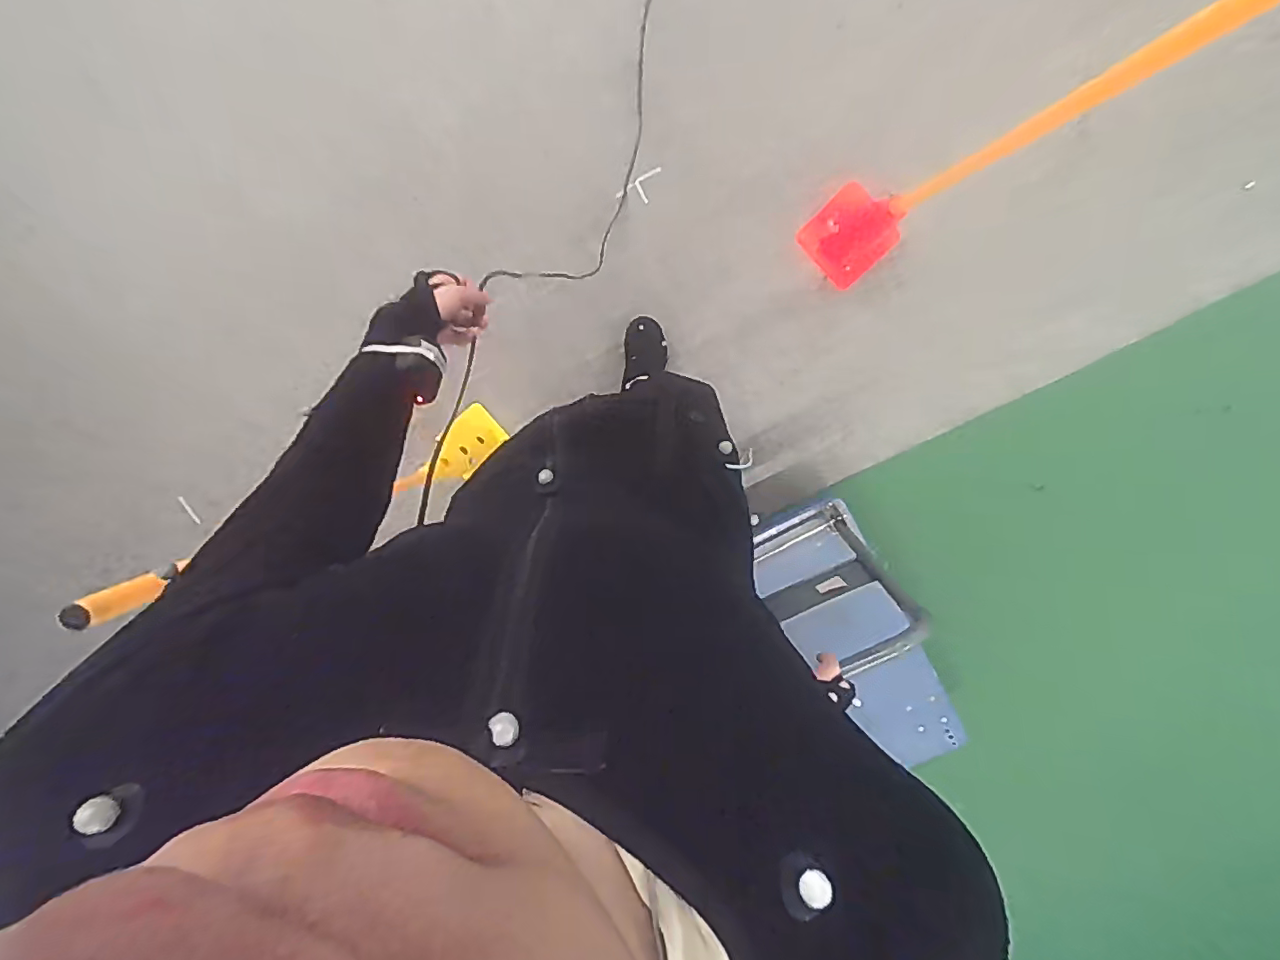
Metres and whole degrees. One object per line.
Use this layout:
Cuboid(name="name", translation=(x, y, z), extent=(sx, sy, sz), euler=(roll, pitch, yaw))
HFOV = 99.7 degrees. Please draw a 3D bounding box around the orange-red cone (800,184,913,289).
Cuboid(name="orange-red cone", translation=(0.533, -0.587, 1.238), extent=(0.199, 0.360, 0.198), euler=(-42, 99, 12))
